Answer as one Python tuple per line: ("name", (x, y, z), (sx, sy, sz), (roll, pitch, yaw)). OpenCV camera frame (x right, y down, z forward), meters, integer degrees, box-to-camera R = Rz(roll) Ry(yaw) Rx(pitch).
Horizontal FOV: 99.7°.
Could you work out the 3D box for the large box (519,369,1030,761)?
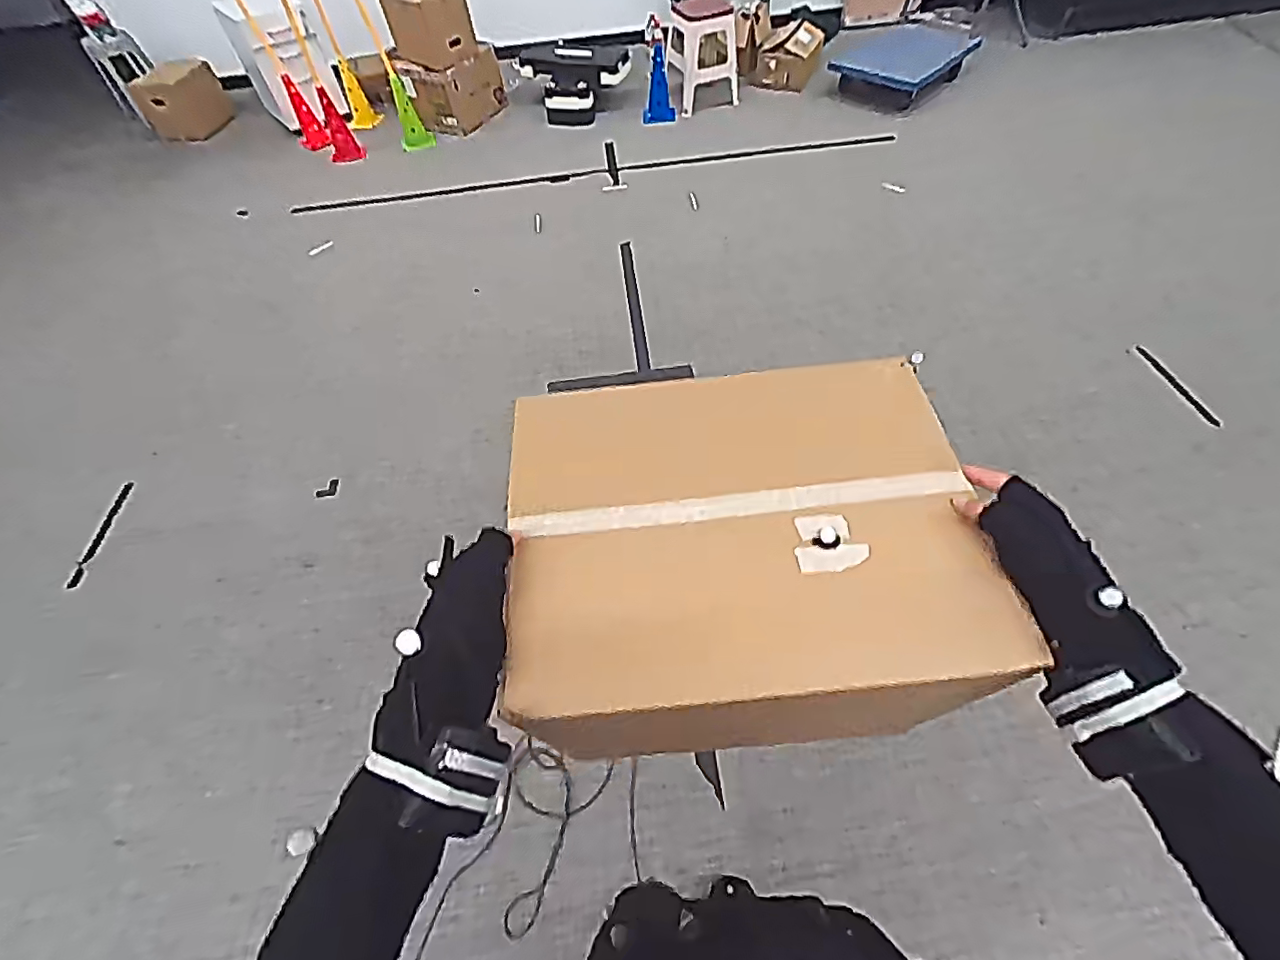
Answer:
("large box", (0.097, 0.112, 0.616), (0.408, 0.320, 0.320), (-6, 57, 0))
